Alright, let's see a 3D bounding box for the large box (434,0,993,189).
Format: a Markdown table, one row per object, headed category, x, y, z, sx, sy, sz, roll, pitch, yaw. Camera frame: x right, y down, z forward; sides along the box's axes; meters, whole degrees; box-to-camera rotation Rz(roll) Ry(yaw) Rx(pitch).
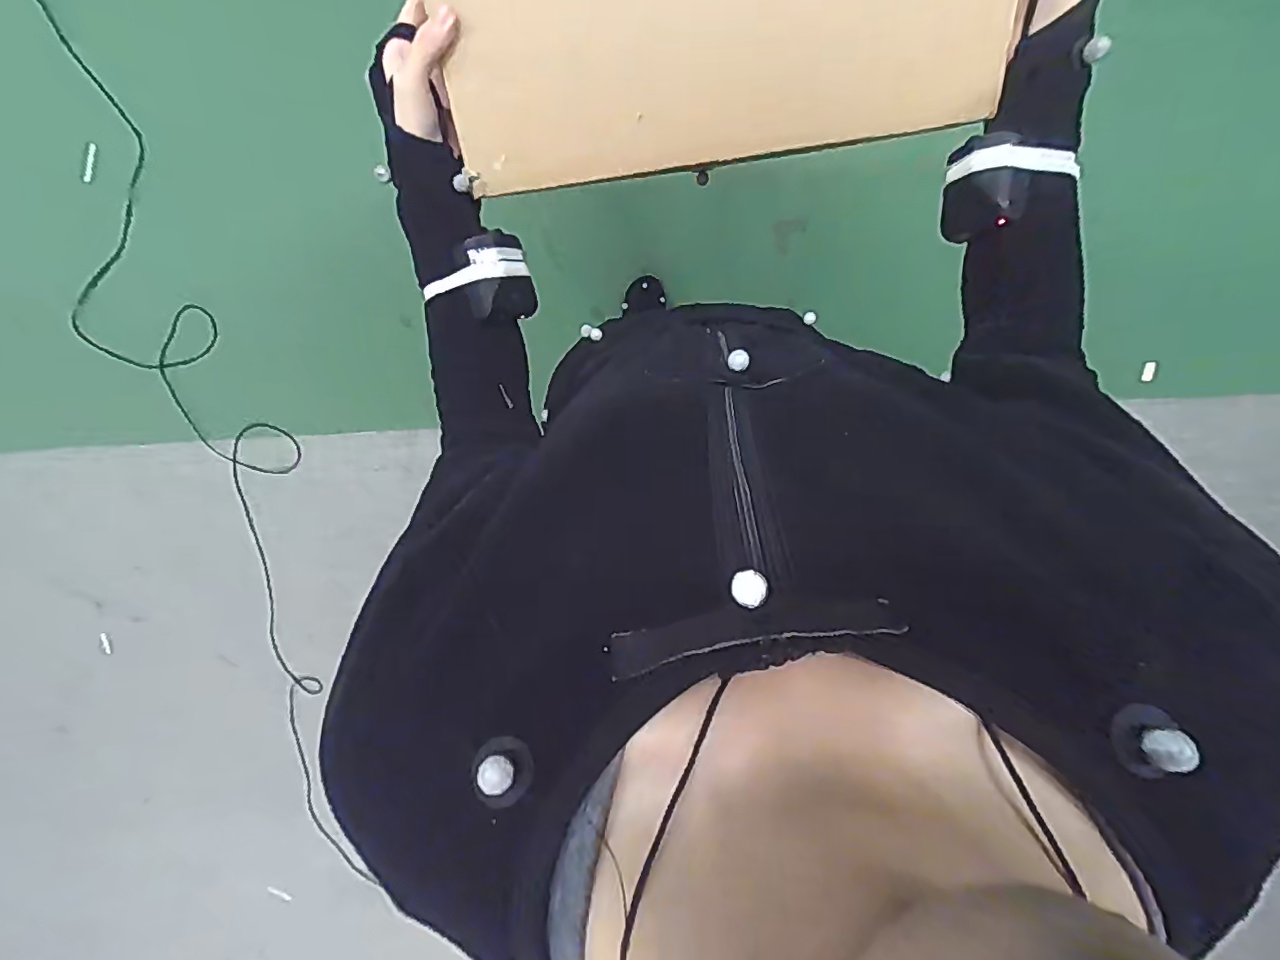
| category | x | y | z | sx | sy | sz | roll | pitch | yaw |
| --- | --- | --- | --- | --- | --- | --- | --- | --- | --- |
| large box | 0.044 | -0.468 | 0.484 | 0.408 | 0.320 | 0.320 | -7 | 118 | 3 |
